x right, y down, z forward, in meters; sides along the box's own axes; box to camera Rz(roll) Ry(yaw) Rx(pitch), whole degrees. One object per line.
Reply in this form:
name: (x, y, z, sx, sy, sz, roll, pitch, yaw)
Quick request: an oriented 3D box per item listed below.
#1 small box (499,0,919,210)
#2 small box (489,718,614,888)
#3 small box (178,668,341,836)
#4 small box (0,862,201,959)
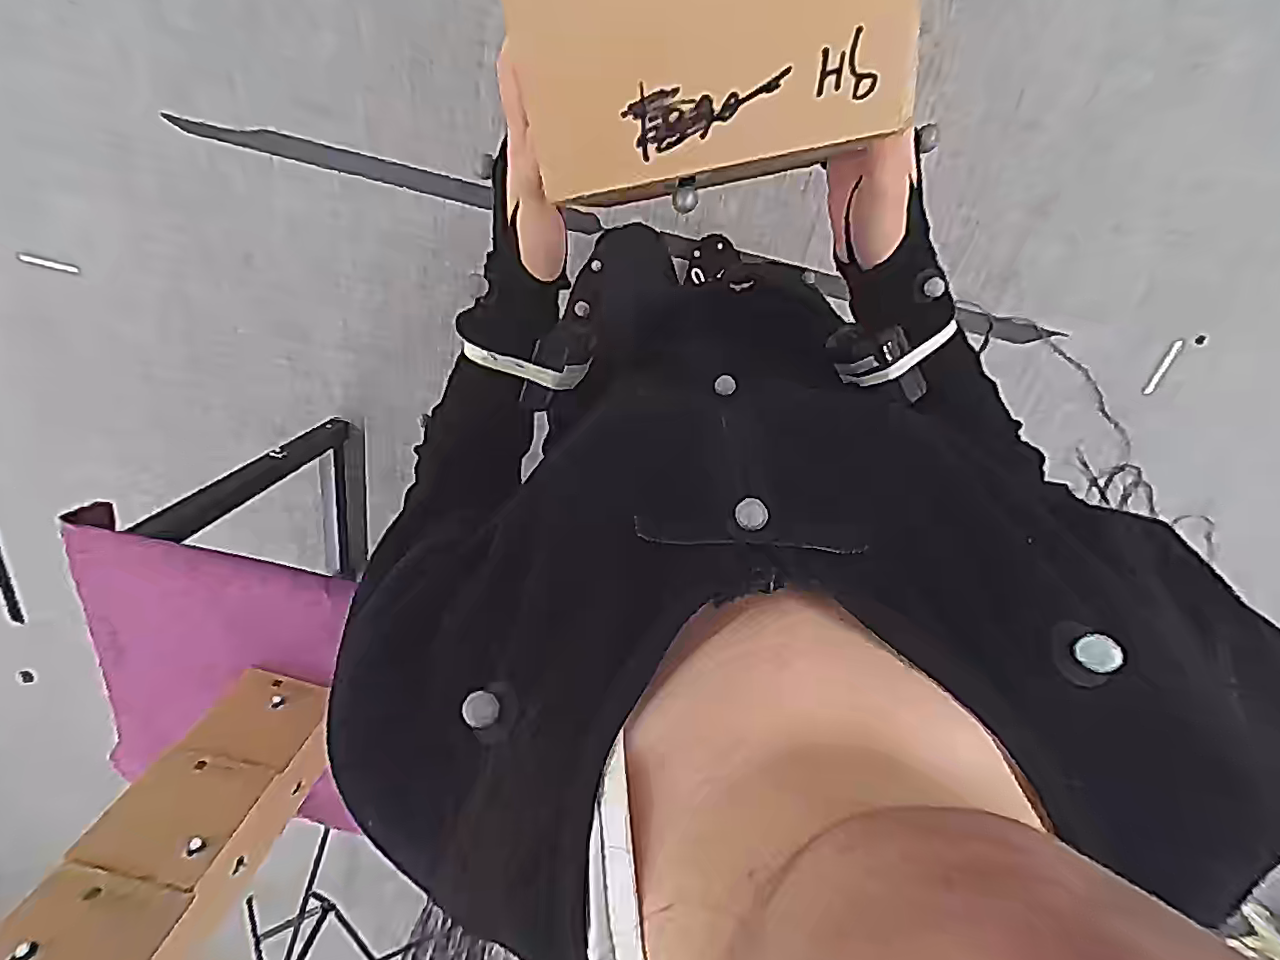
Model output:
small box: (0.026, -0.248, 0.275, 0.168, 0.176, 0.179, -7, 115, 9)
small box: (-0.147, 0.555, 0.940, 0.168, 0.176, 0.179, 14, 114, -2)
small box: (-0.646, 0.465, 0.935, 0.168, 0.176, 0.179, 18, 114, -5)
small box: (-0.662, 0.595, 0.636, 0.168, 0.176, 0.179, 20, 116, -4)
